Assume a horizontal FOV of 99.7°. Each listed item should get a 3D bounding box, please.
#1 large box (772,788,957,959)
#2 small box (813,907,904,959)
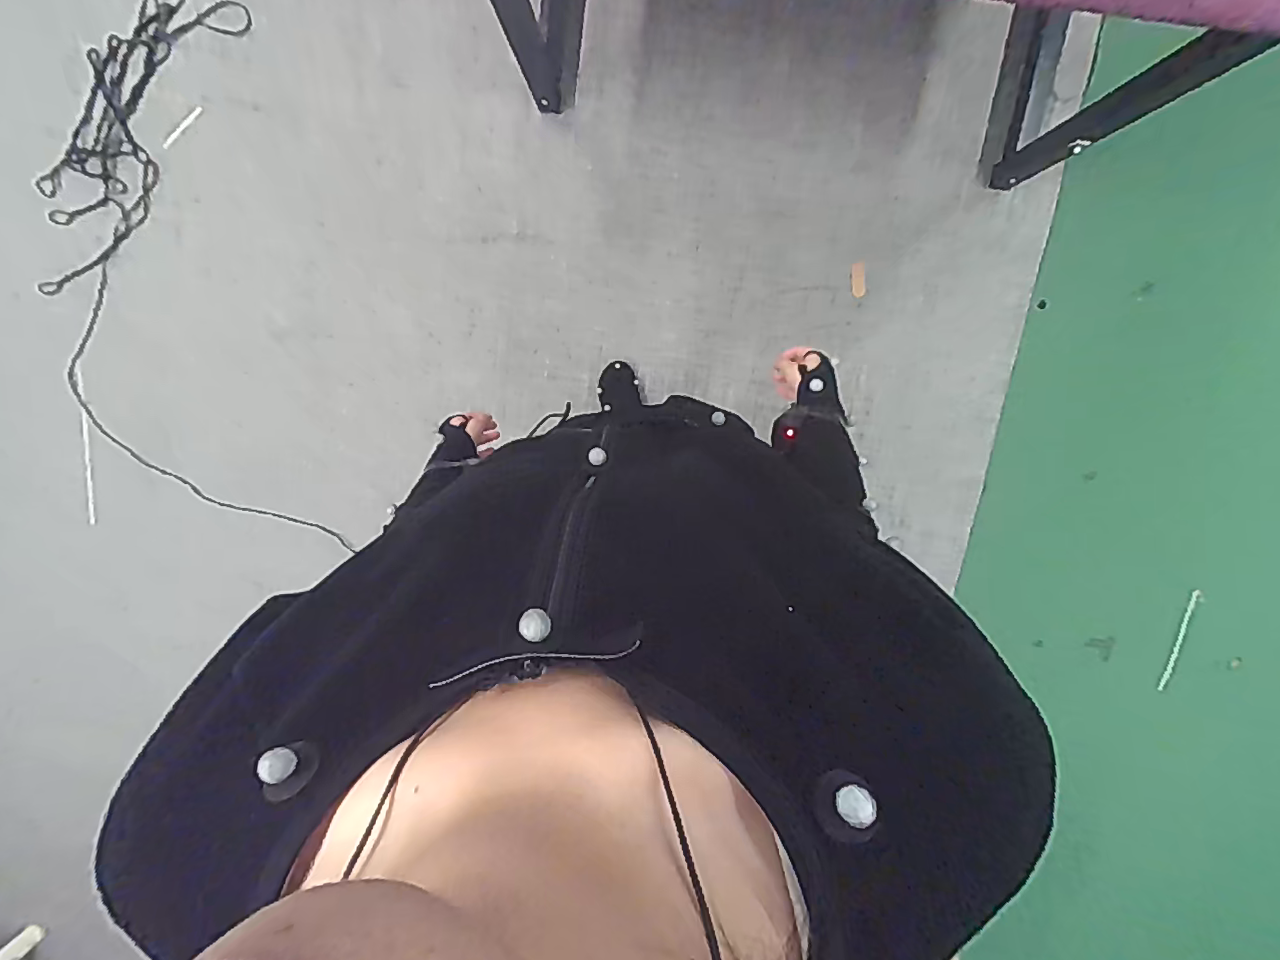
[{"bbox_3d":[0.620,1.142,1.548,0.408,0.320,0.320,-6,101,2],"label":"large box"},{"bbox_3d":[0.527,1.177,1.308,0.179,0.176,0.168,-1,100,2],"label":"small box"}]
